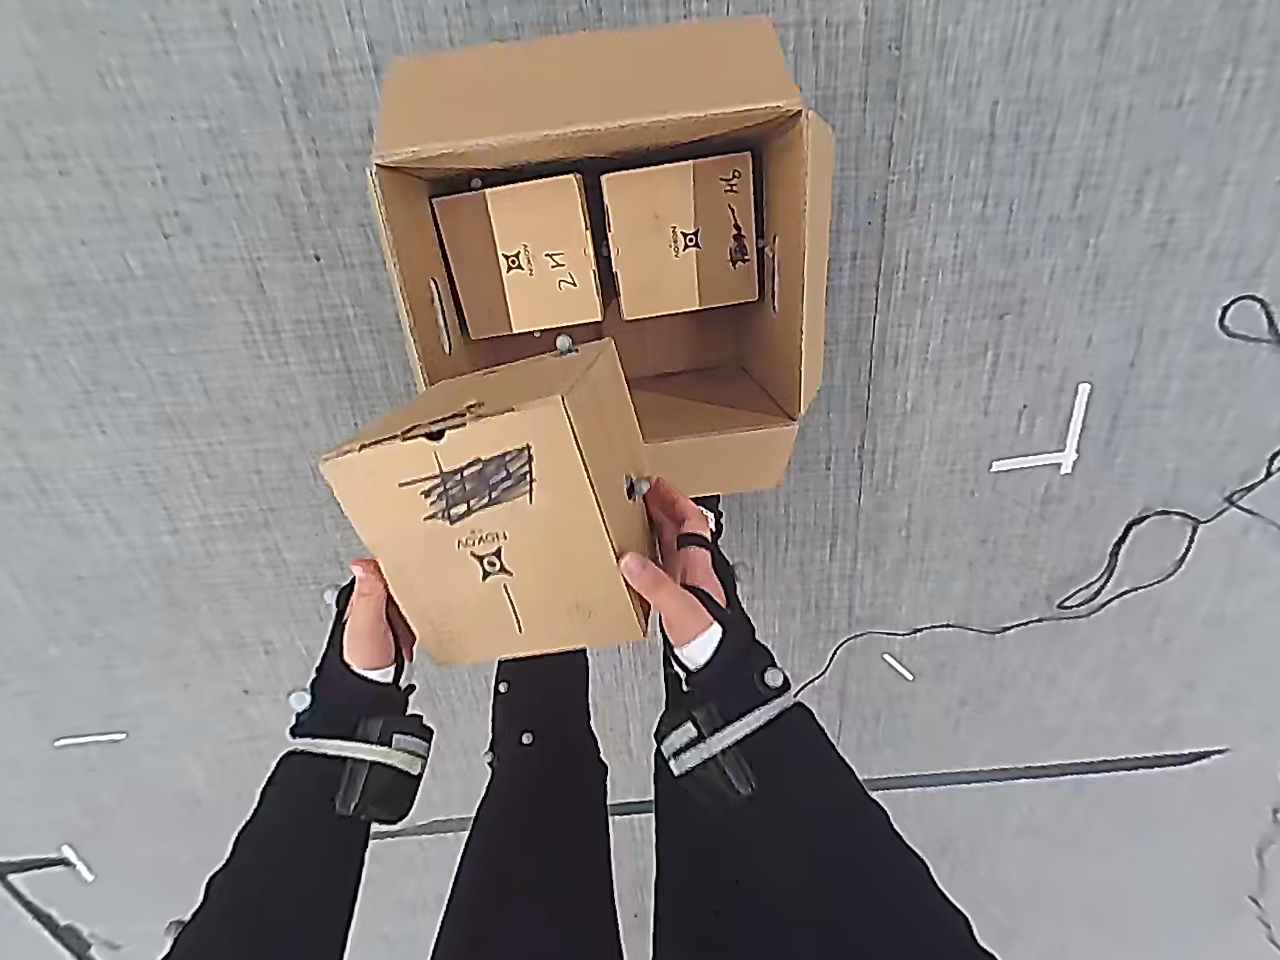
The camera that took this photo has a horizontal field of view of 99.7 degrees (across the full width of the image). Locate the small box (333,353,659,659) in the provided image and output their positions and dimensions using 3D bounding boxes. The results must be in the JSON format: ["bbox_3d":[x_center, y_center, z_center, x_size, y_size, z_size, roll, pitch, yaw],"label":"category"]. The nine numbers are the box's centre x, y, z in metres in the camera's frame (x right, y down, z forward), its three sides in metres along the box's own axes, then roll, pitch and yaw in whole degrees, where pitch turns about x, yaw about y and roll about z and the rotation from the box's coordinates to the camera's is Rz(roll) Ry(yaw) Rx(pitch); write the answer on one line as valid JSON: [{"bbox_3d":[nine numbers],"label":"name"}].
[{"bbox_3d":[-0.088,0.009,0.429,0.168,0.176,0.179,-12,114,13],"label":"small box"}]
